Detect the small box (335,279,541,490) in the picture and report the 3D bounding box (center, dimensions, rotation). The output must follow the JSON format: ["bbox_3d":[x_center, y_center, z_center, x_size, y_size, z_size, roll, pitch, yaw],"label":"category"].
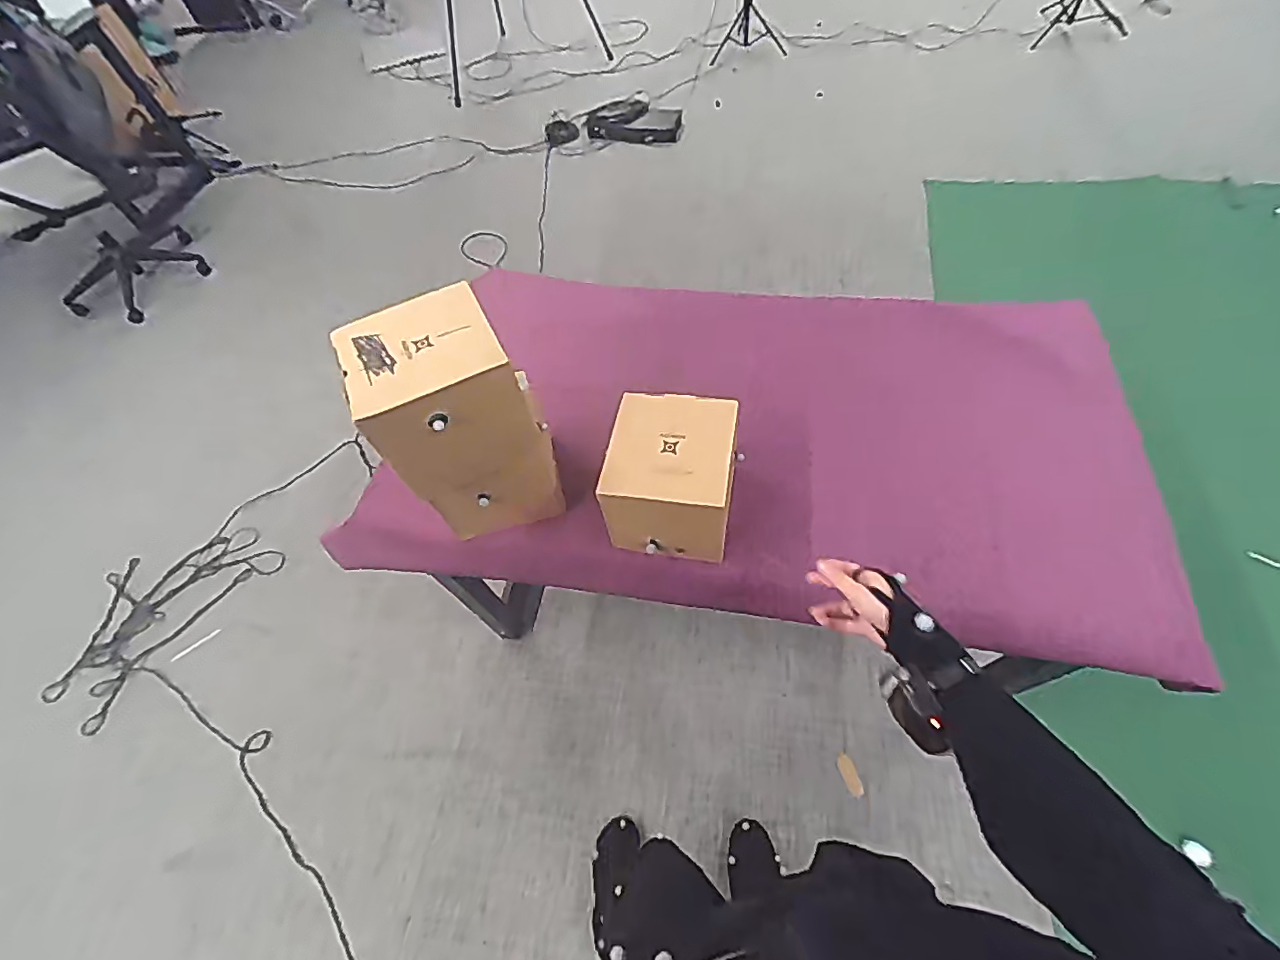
[{"bbox_3d":[-0.246,-0.114,0.685,0.179,0.176,0.168,-25,58,-10],"label":"small box"}]

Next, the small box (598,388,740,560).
[{"bbox_3d":[0.049,-0.007,0.781,0.168,0.176,0.179,6,59,12],"label":"small box"}]

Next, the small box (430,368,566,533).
[{"bbox_3d":[-0.226,-0.039,0.831,0.179,0.176,0.168,-15,57,-3],"label":"small box"}]
